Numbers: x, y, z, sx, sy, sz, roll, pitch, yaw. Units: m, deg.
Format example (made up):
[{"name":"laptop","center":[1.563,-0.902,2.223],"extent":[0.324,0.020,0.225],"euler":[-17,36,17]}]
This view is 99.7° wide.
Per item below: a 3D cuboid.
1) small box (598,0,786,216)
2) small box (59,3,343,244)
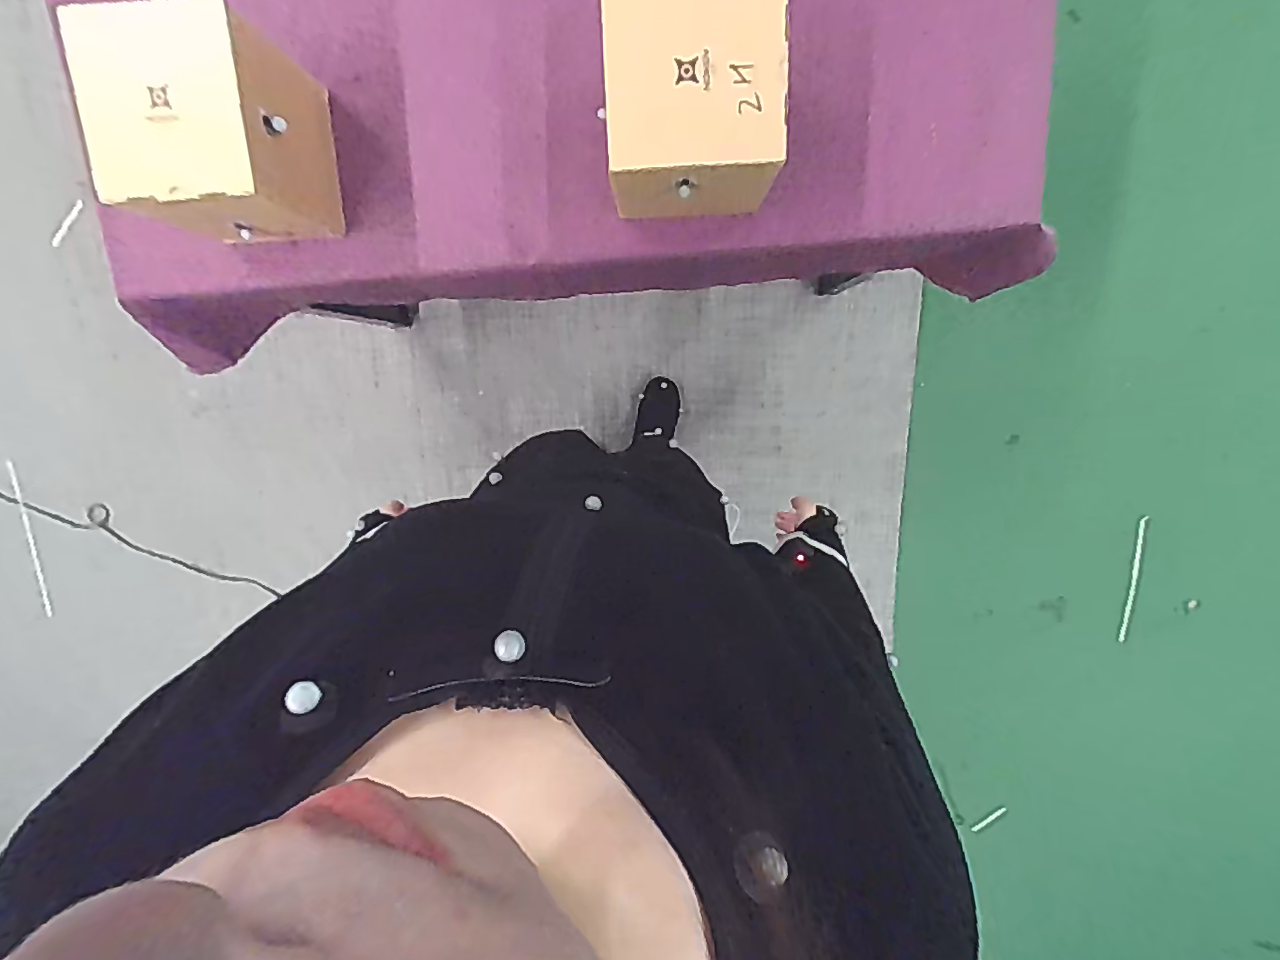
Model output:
[{"name":"small box","center":[0.053,-0.400,0.592],"extent":[0.179,0.176,0.168],"euler":[-2,102,2]},{"name":"small box","center":[-0.468,-0.380,0.608],"extent":[0.168,0.176,0.179],"euler":[-3,102,1]}]
